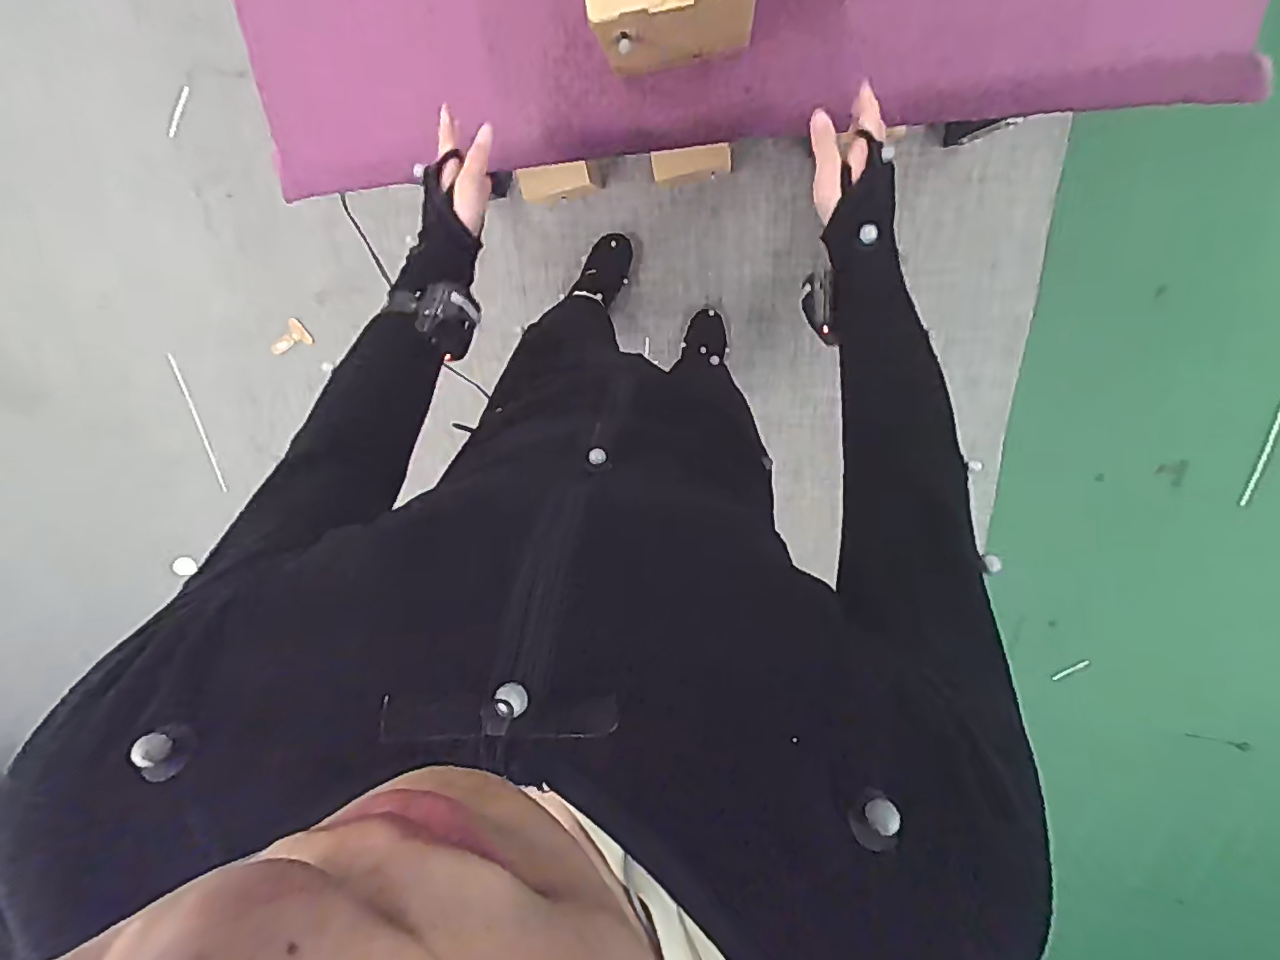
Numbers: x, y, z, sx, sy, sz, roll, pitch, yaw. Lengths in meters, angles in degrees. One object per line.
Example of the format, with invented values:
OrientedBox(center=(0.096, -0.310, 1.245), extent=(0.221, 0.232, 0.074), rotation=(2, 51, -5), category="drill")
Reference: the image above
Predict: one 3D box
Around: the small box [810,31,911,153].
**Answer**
OrientedBox(center=(0.470, -0.829, 1.177), extent=(0.168, 0.176, 0.179), rotation=(-5, 112, 8), category="small box")

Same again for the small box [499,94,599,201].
OrientedBox(center=(-0.206, -0.775, 1.282), extent=(0.168, 0.176, 0.179), rotation=(-10, 111, 11), category="small box")

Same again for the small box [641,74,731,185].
OrientedBox(center=(0.108, -0.792, 1.238), extent=(0.179, 0.176, 0.168), rotation=(-8, 111, 11), category="small box")
